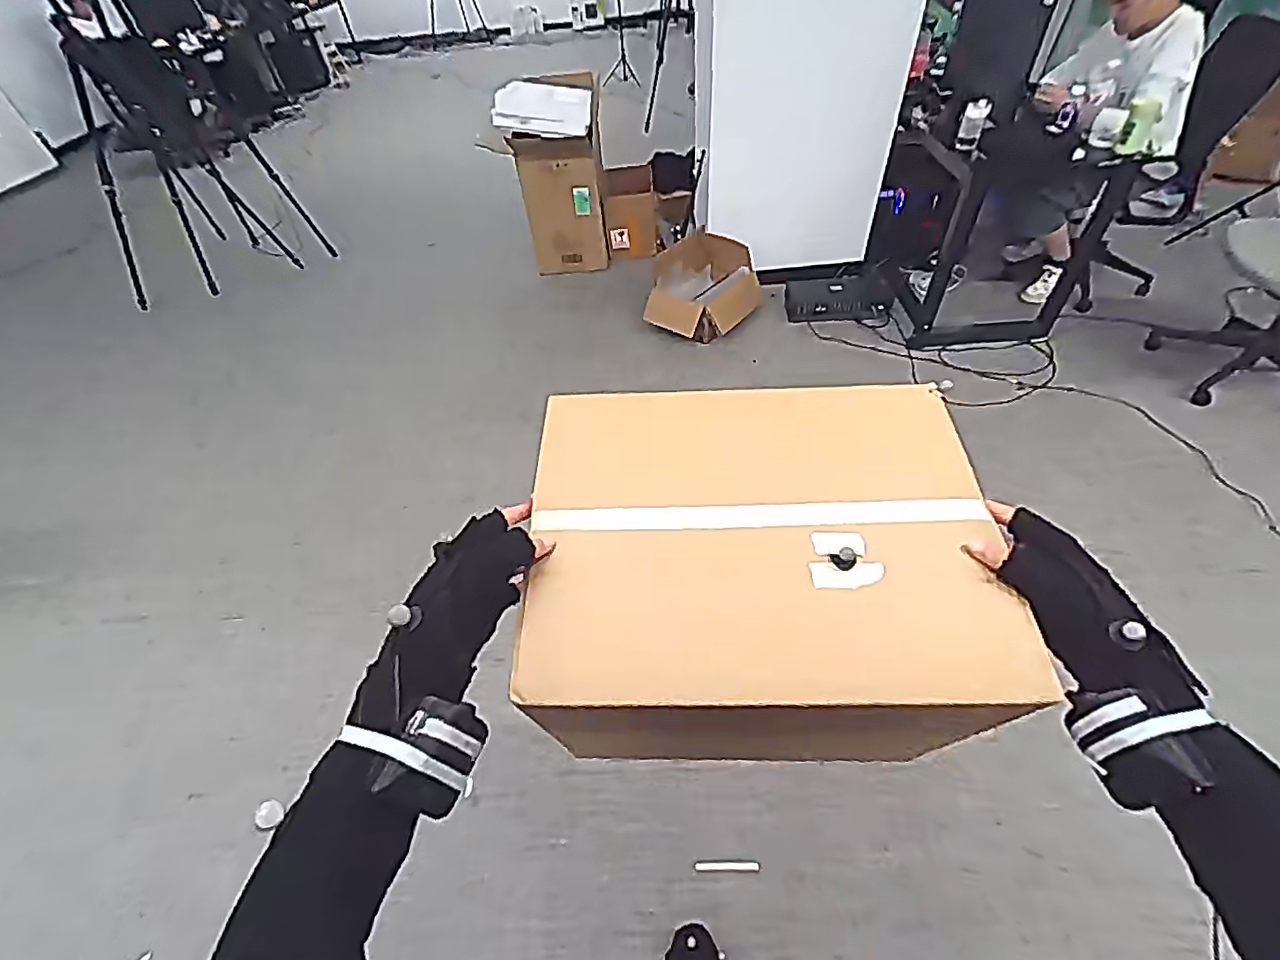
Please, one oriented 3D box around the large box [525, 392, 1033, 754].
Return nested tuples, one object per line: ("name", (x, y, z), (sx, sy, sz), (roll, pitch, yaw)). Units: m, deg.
("large box", (0.110, 0.121, 0.624), (0.408, 0.320, 0.320), (-1, 57, 3))
